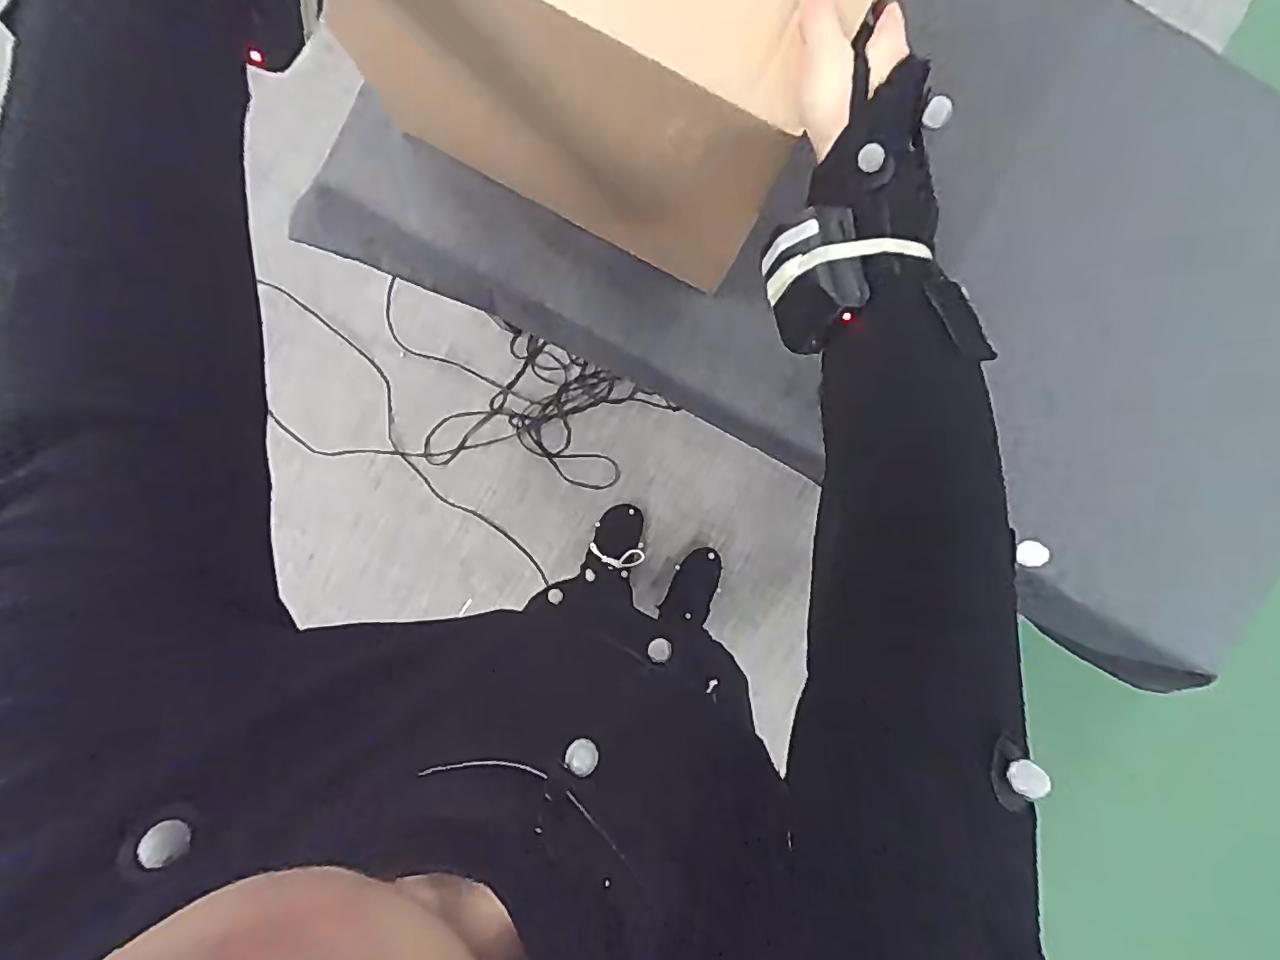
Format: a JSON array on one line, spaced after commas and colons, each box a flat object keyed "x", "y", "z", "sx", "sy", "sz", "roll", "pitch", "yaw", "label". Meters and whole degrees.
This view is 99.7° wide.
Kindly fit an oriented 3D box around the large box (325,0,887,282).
[{"x": -0.013, "y": -0.435, "z": 0.456, "sx": 0.408, "sy": 0.320, "sz": 0.320, "roll": 26, "pitch": 92, "yaw": -4, "label": "large box"}]
